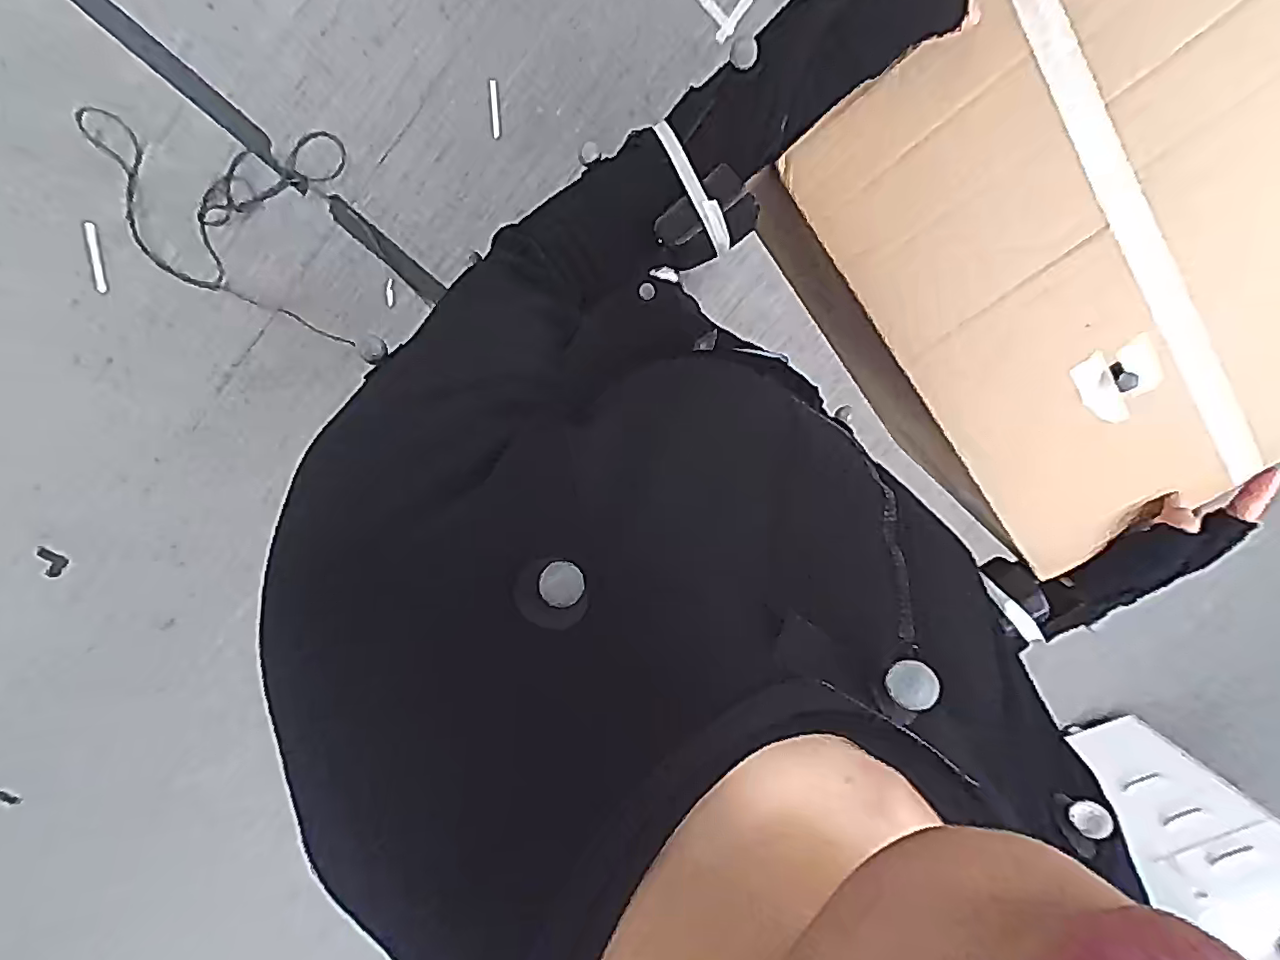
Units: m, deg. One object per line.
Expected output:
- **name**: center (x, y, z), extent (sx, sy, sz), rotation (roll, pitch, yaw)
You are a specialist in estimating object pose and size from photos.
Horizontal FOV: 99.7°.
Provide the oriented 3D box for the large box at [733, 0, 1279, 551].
- **large box**: center (0.337, -0.222, 0.503), extent (0.320, 0.320, 0.408), rotation (-35, 108, 19)
